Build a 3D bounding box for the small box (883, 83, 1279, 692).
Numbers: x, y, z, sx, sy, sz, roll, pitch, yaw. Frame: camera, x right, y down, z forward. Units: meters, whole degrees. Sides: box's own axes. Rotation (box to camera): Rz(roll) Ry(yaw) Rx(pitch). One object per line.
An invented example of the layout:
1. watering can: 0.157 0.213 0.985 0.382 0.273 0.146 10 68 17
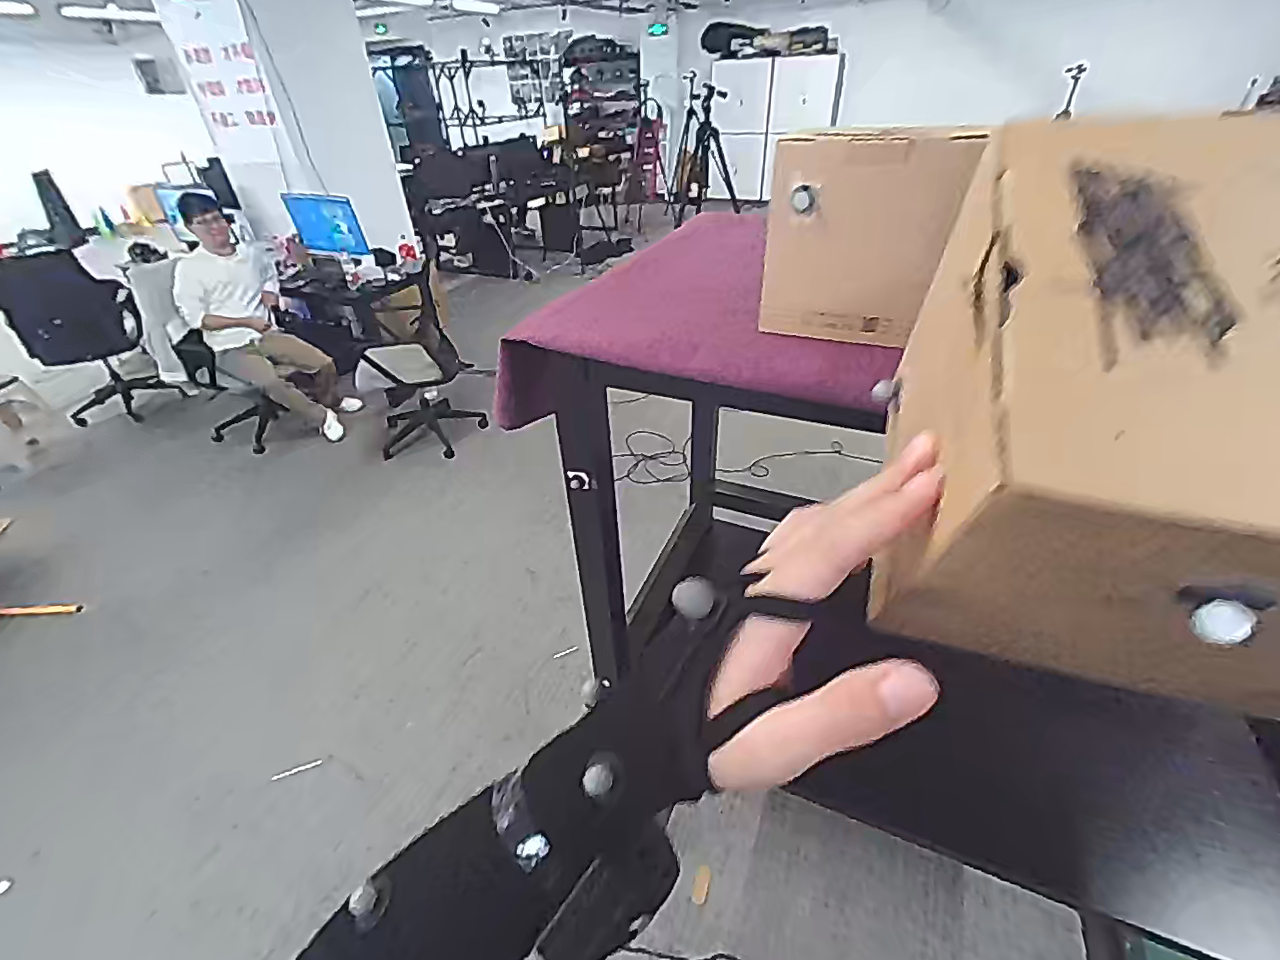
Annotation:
1. small box: 0.211 -0.024 0.220 0.179 0.176 0.168 10 66 16
